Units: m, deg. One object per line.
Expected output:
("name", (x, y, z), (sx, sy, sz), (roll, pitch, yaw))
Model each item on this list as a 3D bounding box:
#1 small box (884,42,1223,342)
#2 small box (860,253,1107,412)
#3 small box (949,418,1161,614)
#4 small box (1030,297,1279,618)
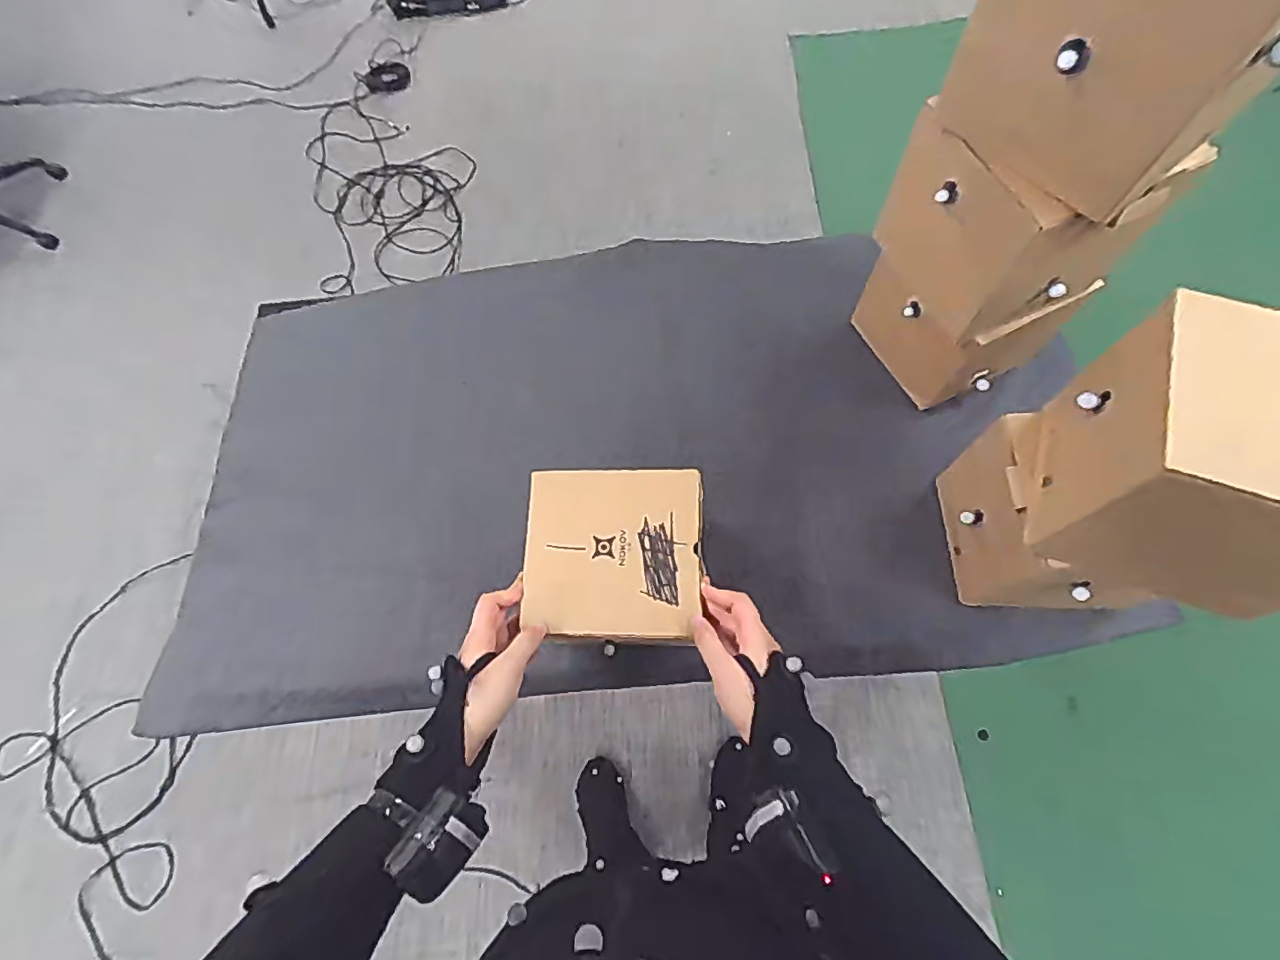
("small box", (0.378, -0.274, 0.541), (0.168, 0.176, 0.179), (-23, 69, -1))
("small box", (0.415, -0.219, 0.694), (0.168, 0.176, 0.179), (-27, 71, -3))
("small box", (0.461, 0.046, 0.583), (0.179, 0.176, 0.168), (0, 66, 6))
("small box", (0.452, -0.007, 0.427), (0.179, 0.176, 0.168), (20, 69, 13))
